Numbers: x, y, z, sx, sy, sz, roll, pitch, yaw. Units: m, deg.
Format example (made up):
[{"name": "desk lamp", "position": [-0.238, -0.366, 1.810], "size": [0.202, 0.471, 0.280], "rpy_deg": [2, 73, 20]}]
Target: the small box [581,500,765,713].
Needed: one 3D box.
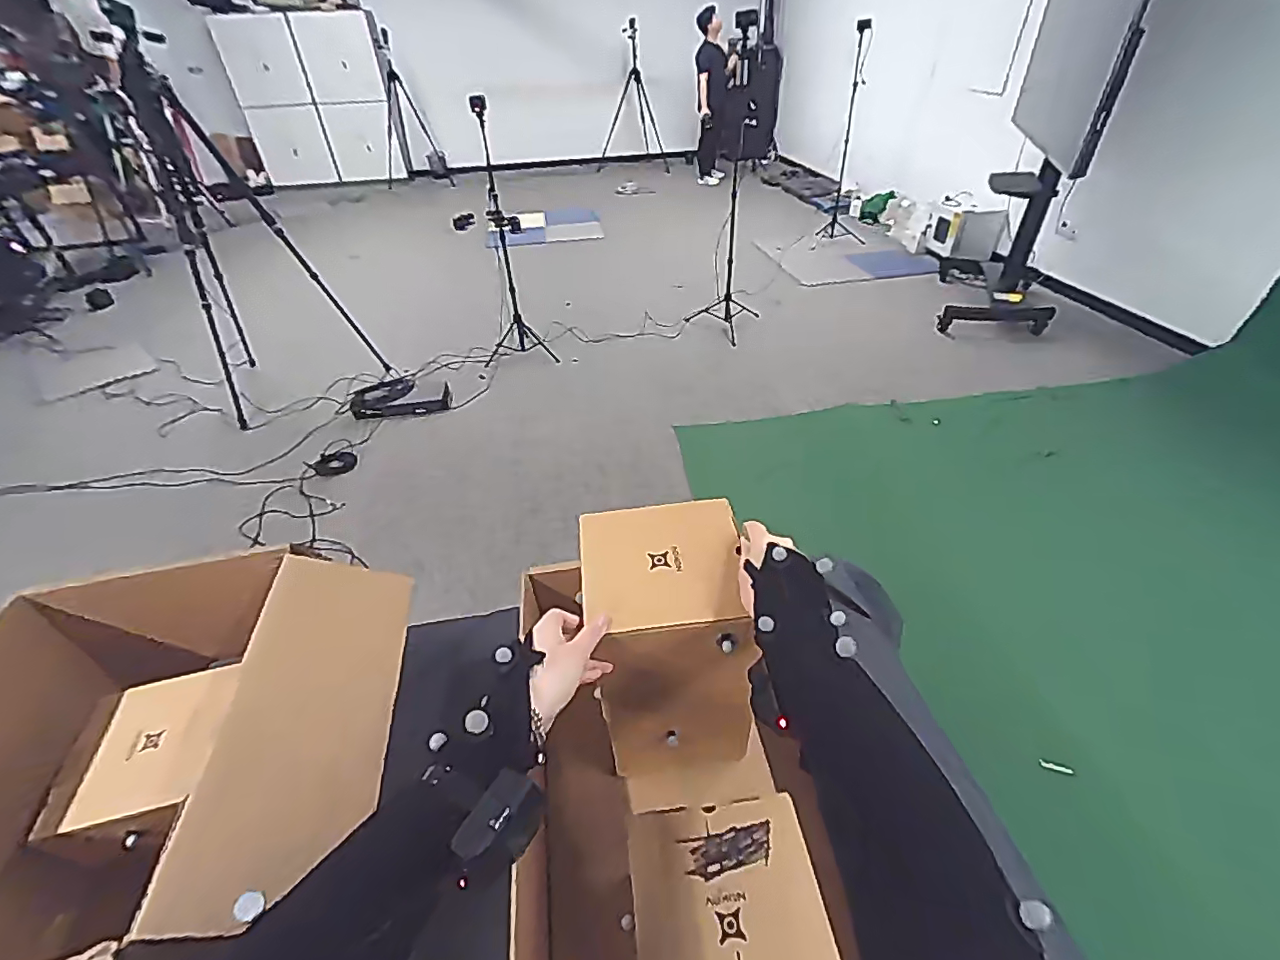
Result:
[{"name": "small box", "position": [0.032, 0.146, 0.620], "size": [0.179, 0.176, 0.168], "rpy_deg": [-6, 41, -3]}]

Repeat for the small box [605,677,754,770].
[{"name": "small box", "position": [0.043, 0.267, 0.728], "size": [0.179, 0.176, 0.168], "rpy_deg": [-8, 42, -4]}]
